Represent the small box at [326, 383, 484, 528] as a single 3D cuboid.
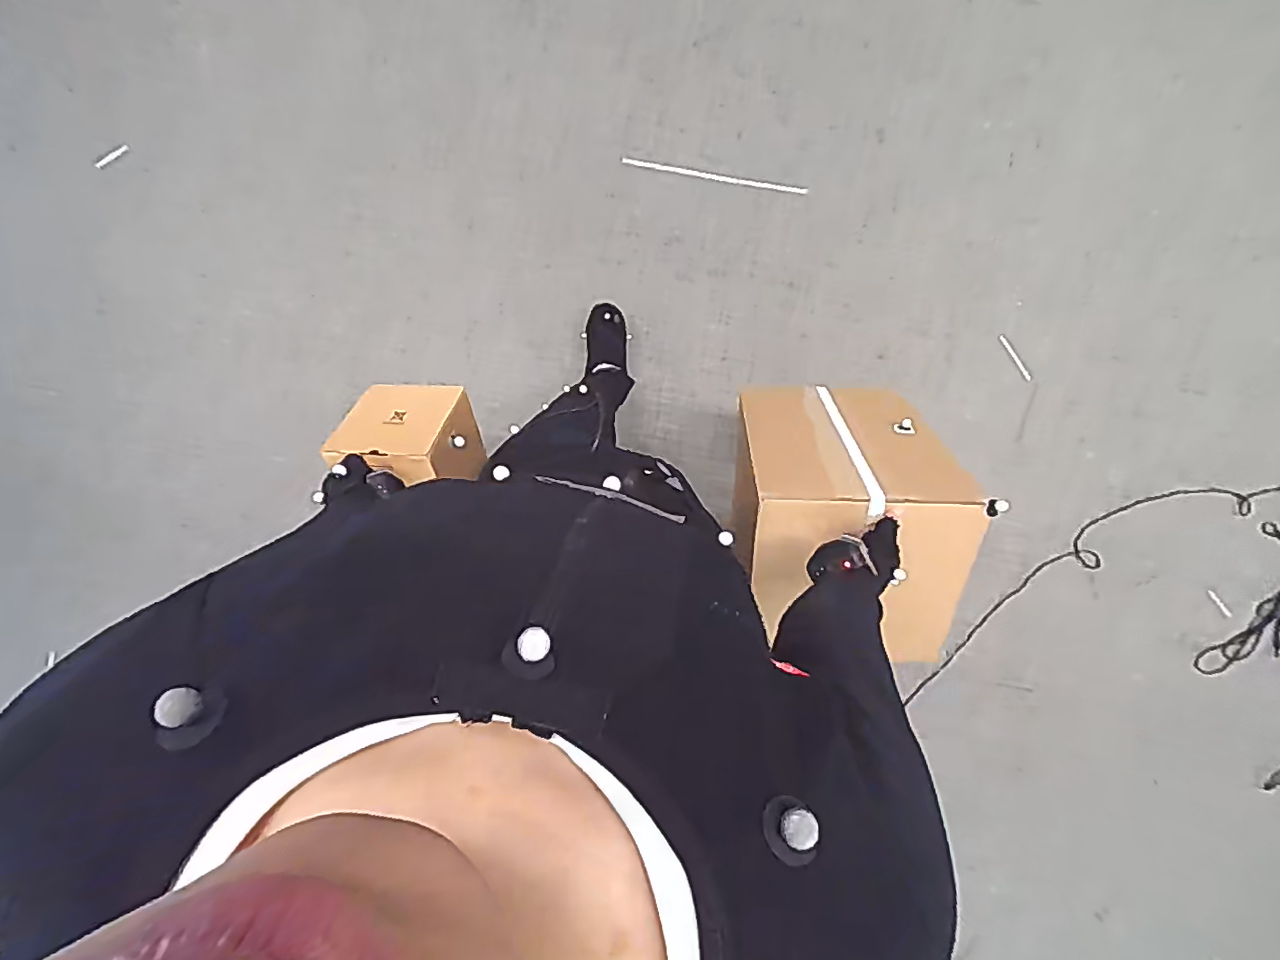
[{"bbox_3d":[-0.375,-0.042,0.906,0.168,0.179,0.176,2,135,5],"label":"small box"}]
